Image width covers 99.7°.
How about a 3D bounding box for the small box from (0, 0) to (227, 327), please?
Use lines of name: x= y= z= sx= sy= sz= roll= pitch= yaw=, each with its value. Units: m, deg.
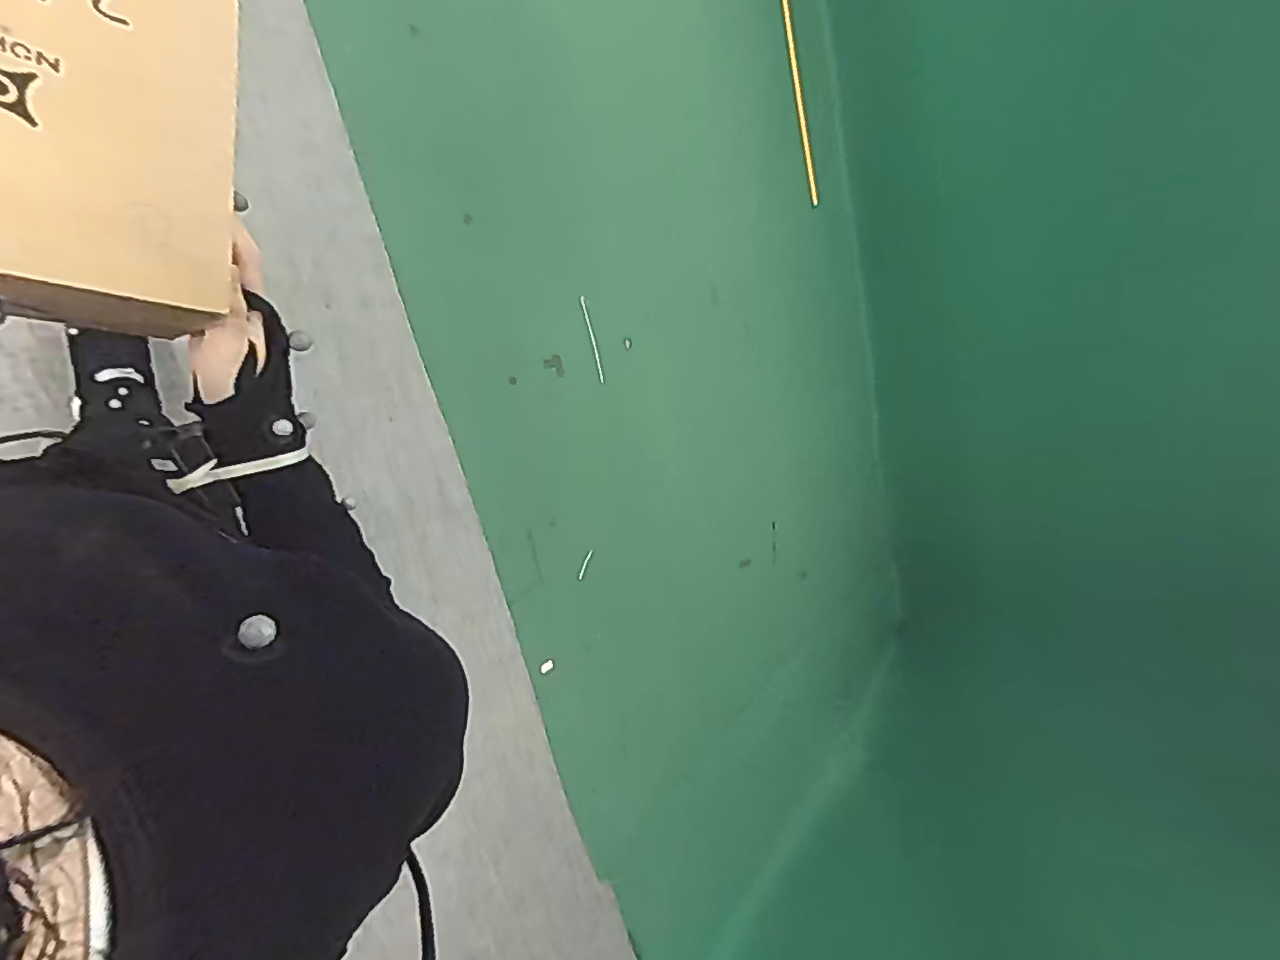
small box: x=-0.344 y=-0.188 z=0.284 sx=0.168 sy=0.176 sz=0.179 roll=2 pitch=93 yaw=-50
